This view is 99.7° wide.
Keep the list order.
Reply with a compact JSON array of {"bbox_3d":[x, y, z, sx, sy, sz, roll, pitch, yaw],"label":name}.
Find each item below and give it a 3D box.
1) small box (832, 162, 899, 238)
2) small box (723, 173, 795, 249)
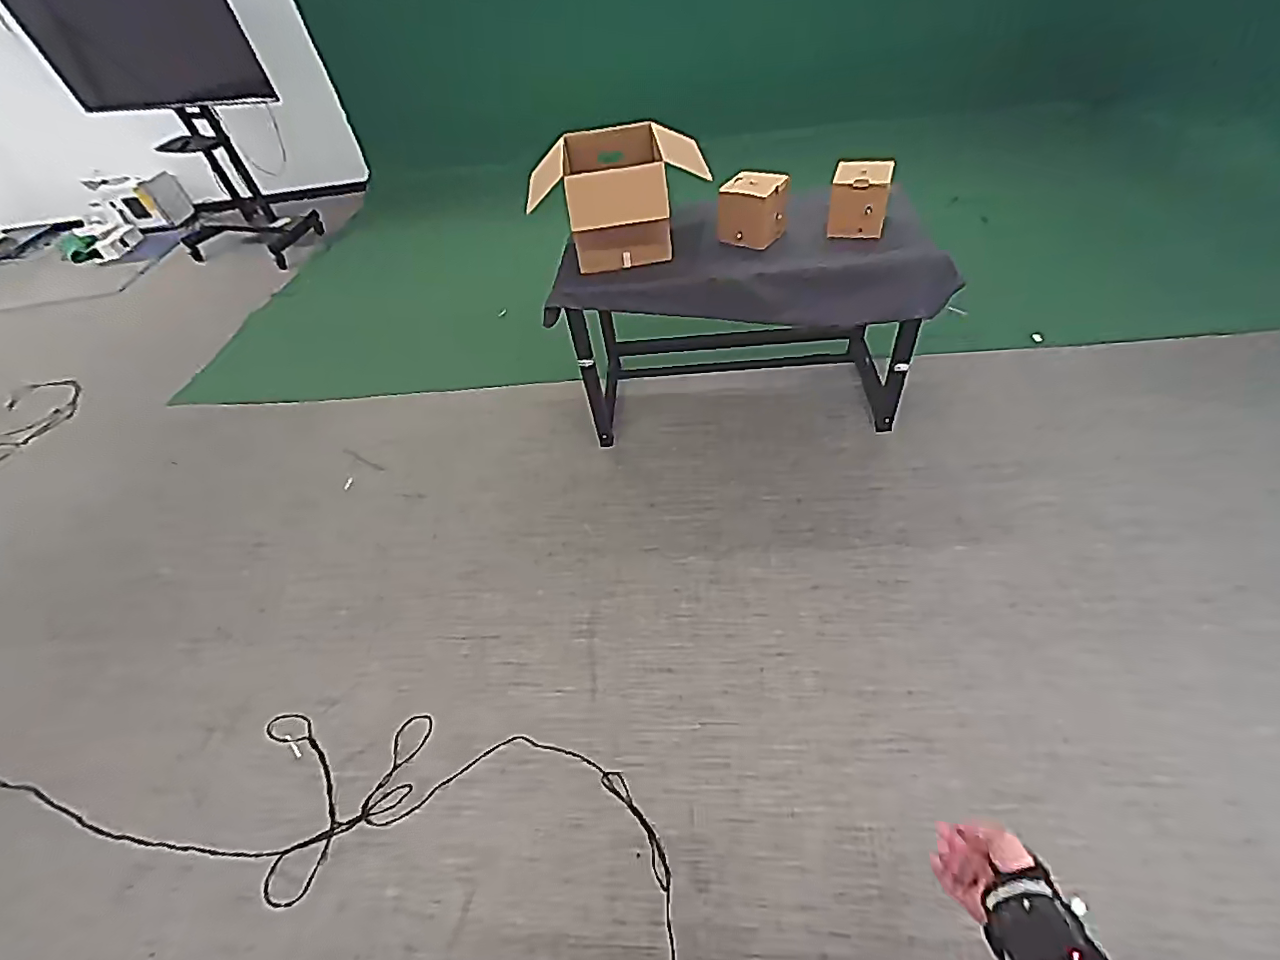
[{"bbox_3d":[0.718,-0.894,1.731,0.168,0.176,0.179,11,50,19],"label":"small box"},{"bbox_3d":[0.392,-0.885,1.785,0.179,0.176,0.168,26,58,29],"label":"small box"}]
